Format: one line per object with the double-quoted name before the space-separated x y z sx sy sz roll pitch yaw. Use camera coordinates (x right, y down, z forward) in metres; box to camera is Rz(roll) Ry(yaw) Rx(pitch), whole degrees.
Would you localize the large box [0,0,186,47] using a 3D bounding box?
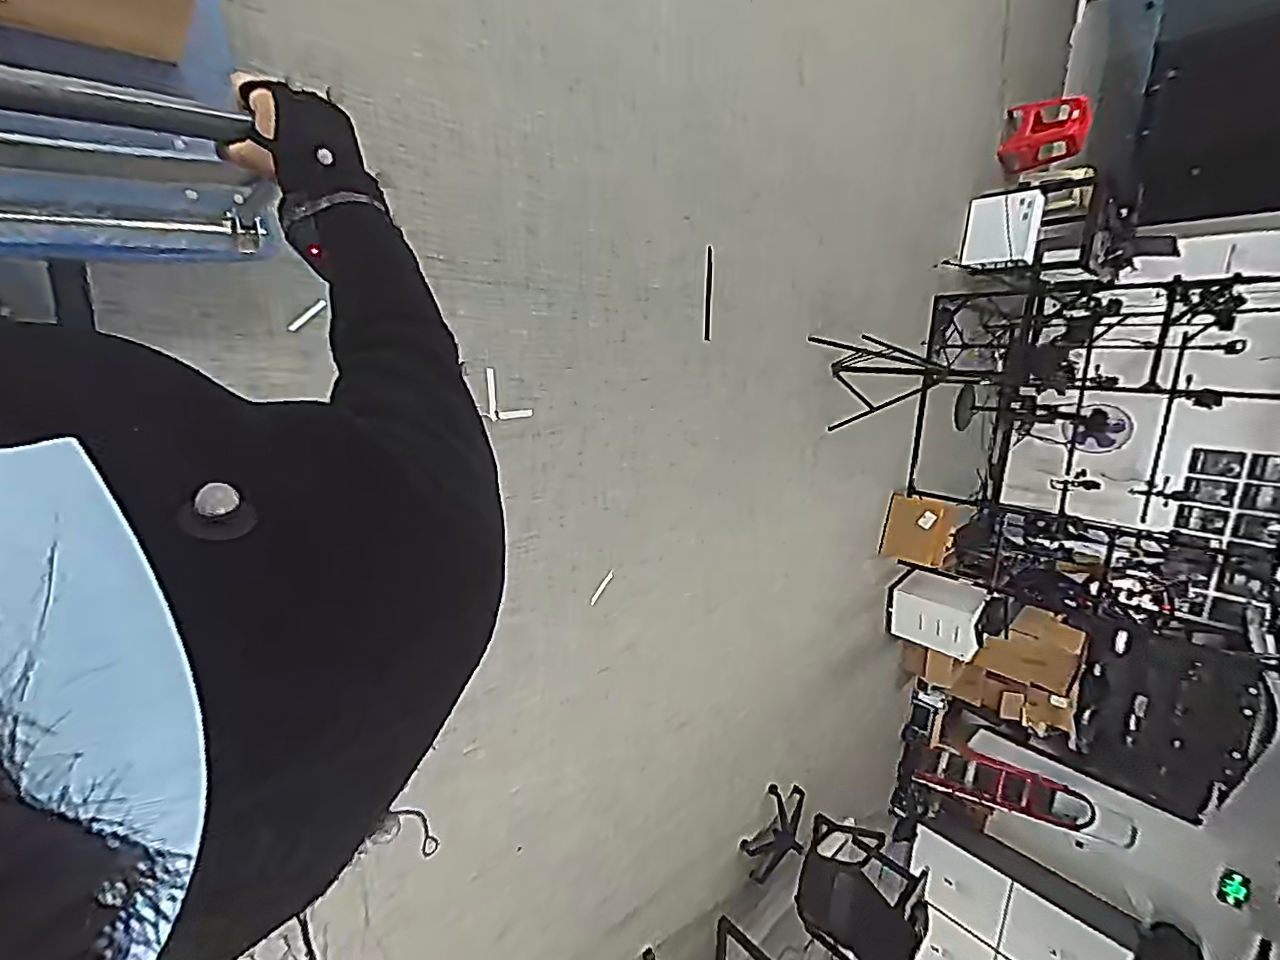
"large box" -0.855 -0.811 0.662 0.408 0.320 0.320 -17 112 -39
